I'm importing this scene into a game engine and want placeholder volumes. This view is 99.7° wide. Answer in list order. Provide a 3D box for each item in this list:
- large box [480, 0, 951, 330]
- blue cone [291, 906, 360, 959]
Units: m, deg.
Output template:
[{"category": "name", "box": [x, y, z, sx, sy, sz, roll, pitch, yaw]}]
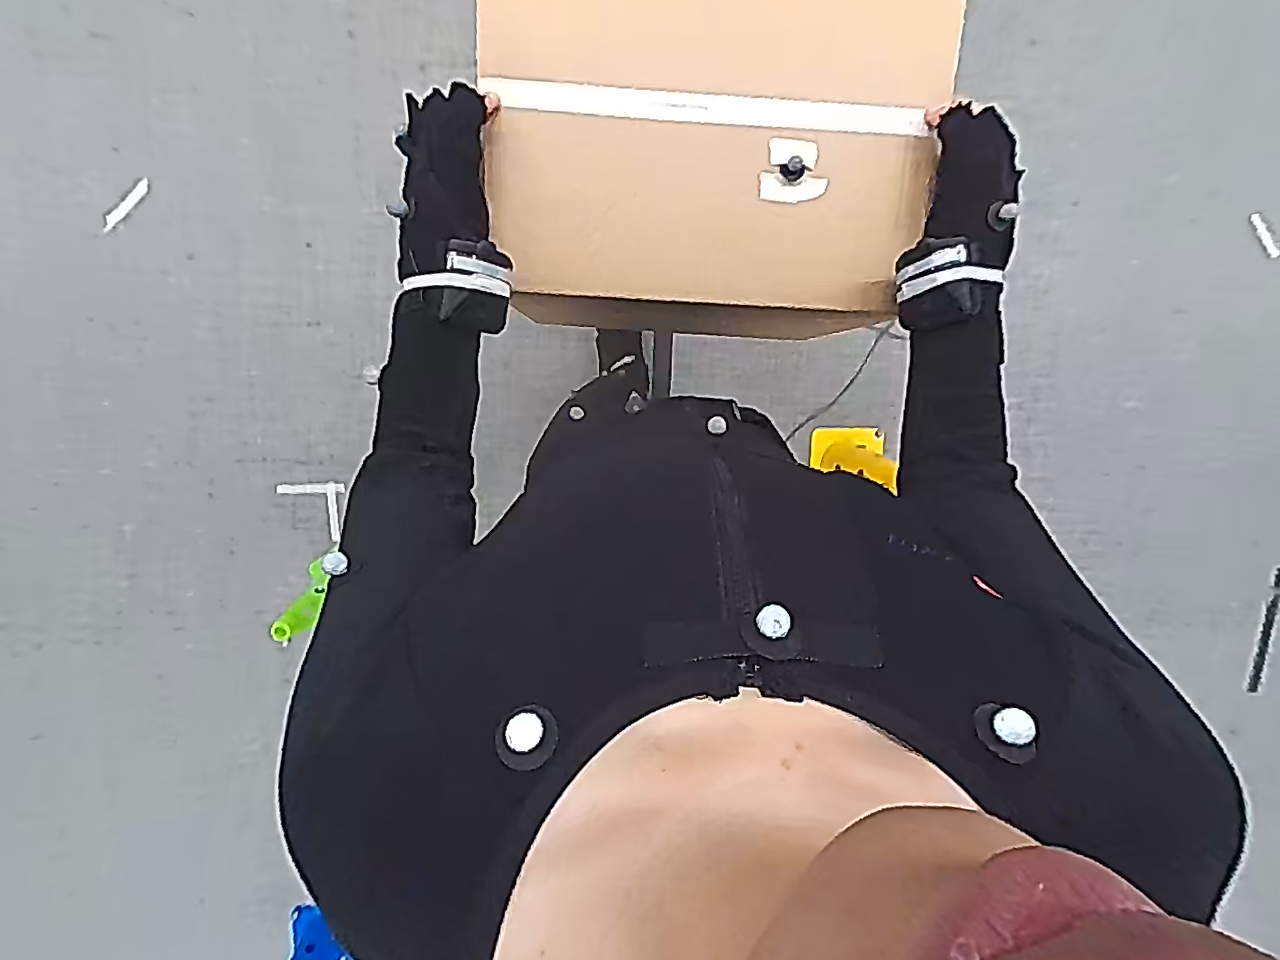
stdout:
[{"category": "large box", "box": [0.055, -0.350, 0.611, 0.408, 0.320, 0.320, 2, 100, -4]}, {"category": "blue cone", "box": [-0.933, 1.390, 1.462, 0.192, 0.380, 0.193, 4, 98, -2]}]
